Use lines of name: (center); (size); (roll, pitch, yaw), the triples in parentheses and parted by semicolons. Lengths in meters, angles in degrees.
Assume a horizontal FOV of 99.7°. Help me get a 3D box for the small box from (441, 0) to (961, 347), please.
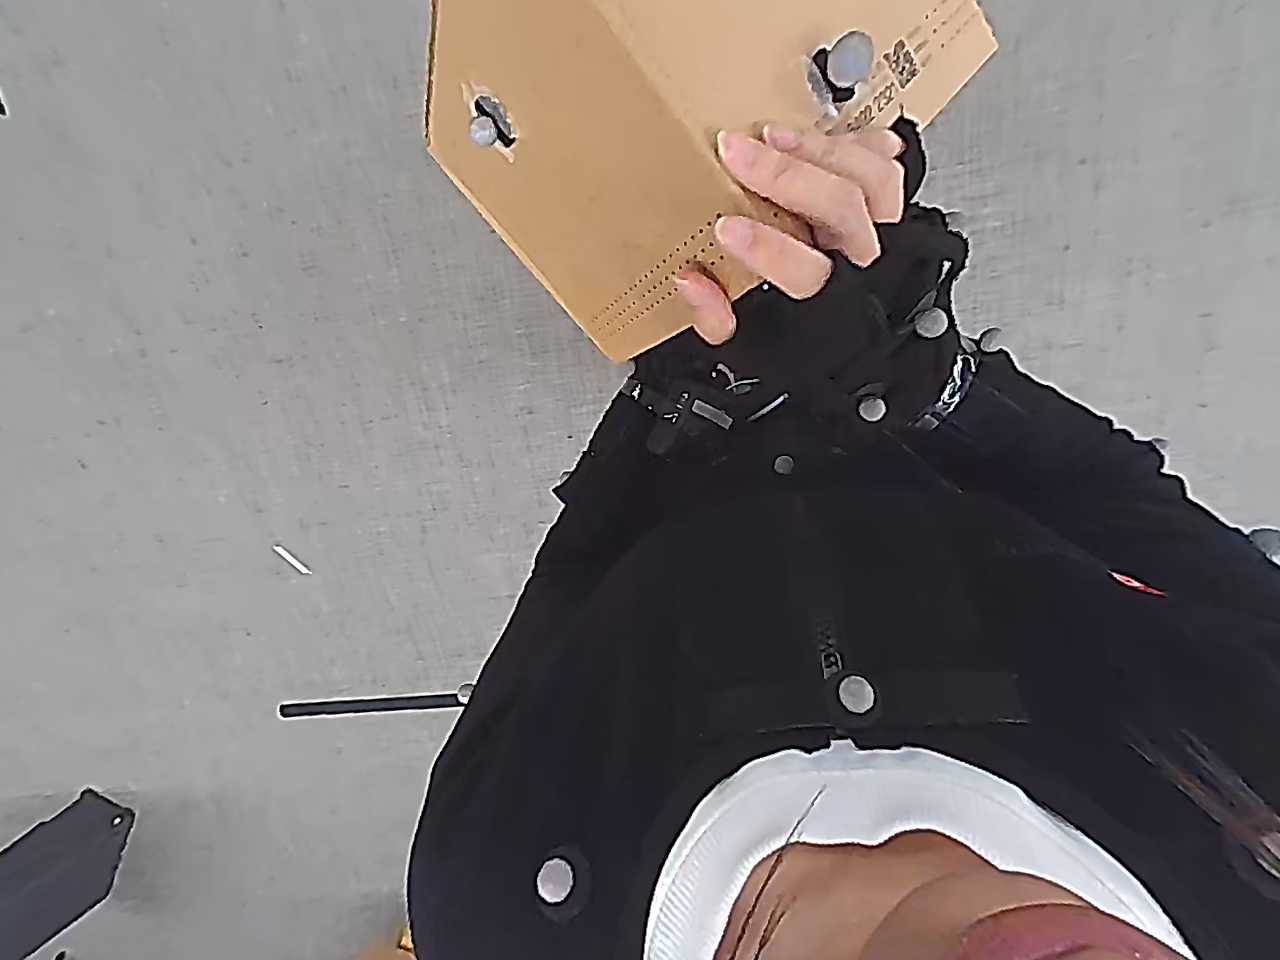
small box: (0.019, -0.195, 0.289); (0.176, 0.179, 0.168); (46, 74, -17)
